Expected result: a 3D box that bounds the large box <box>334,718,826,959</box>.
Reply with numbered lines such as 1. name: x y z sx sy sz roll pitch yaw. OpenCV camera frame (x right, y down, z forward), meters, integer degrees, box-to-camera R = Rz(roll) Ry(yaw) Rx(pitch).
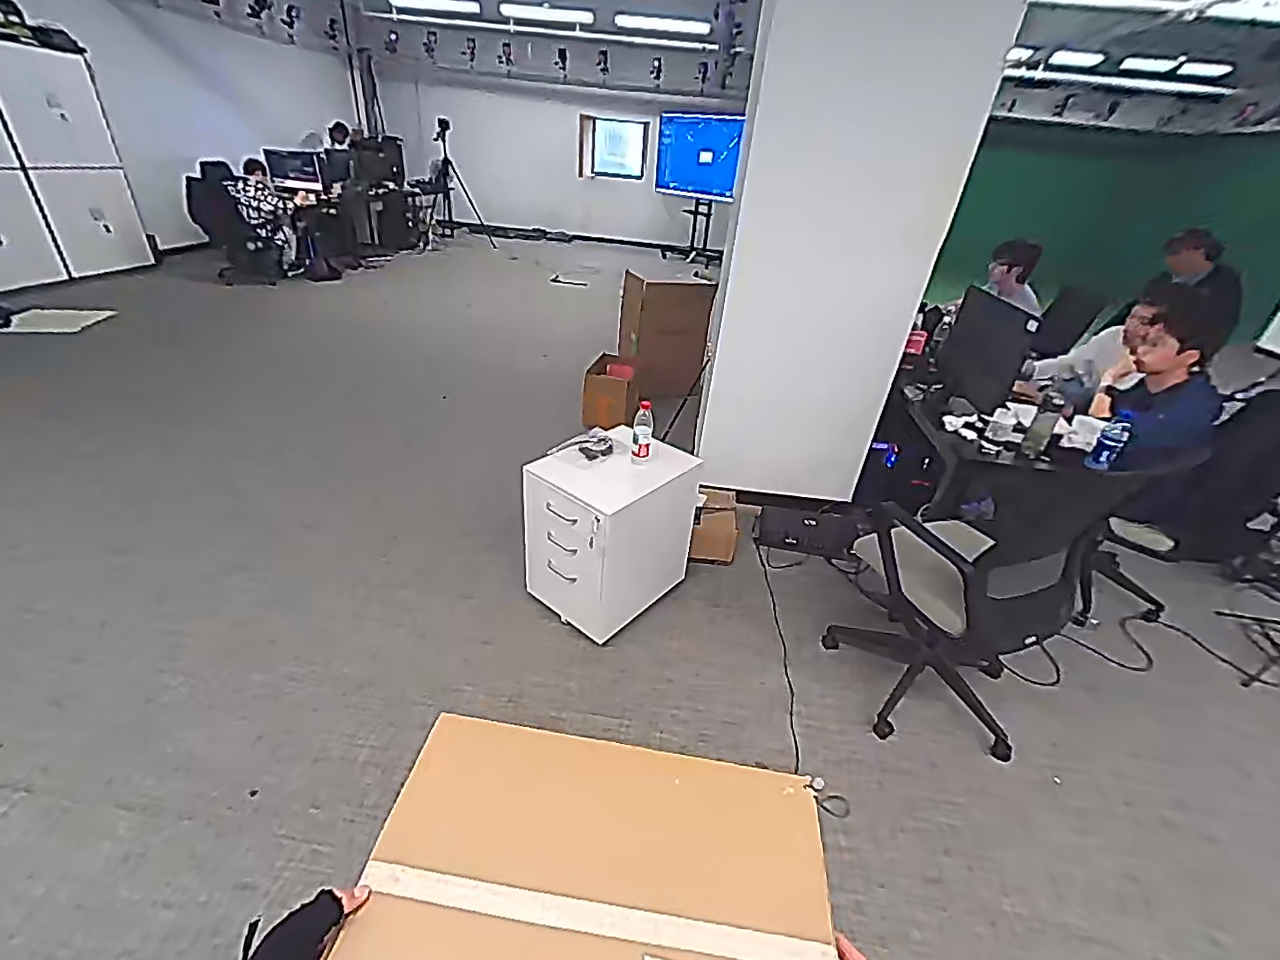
1. large box: -0.055 0.497 0.547 0.408 0.320 0.320 9 34 3
